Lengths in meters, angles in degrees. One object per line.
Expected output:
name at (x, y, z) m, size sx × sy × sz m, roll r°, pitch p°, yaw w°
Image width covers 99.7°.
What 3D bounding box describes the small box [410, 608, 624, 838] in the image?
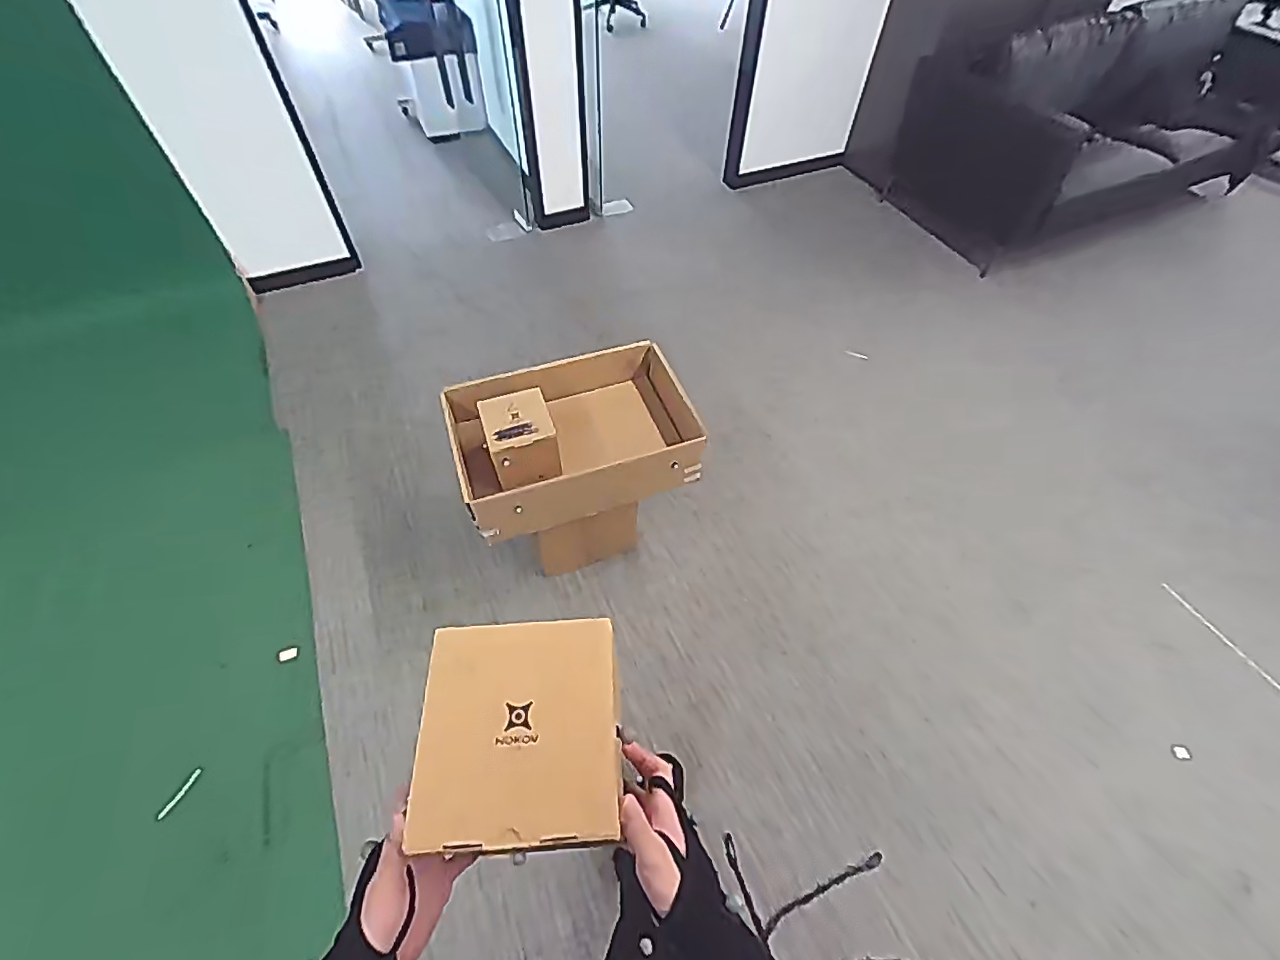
small box at (-0.101, 0.241, 0.529) m, size 0.168 × 0.176 × 0.179 m, roll -3°, pitch 57°, yaw -2°
